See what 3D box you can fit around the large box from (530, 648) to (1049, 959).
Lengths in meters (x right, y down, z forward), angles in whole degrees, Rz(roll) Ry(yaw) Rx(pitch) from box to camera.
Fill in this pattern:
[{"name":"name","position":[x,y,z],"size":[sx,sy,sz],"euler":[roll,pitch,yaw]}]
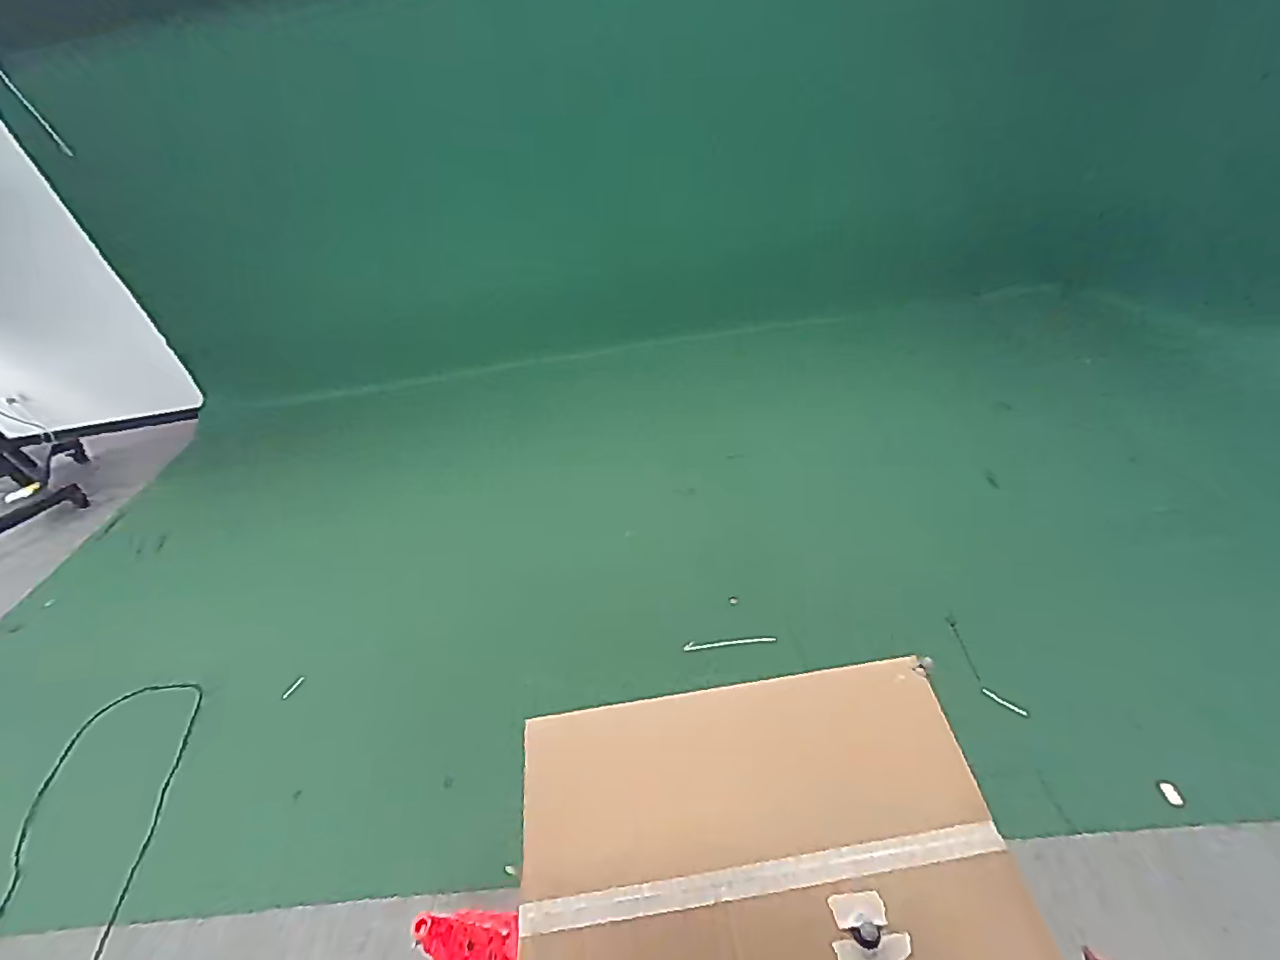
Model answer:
[{"name":"large box","position":[0.114,0.419,0.583],"size":[0.408,0.320,0.320],"euler":[-9,52,-2]}]

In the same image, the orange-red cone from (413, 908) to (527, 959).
[{"name":"orange-red cone","position":[-0.415,1.029,1.202],"size":[0.199,0.360,0.198],"euler":[-5,38,11]}]
